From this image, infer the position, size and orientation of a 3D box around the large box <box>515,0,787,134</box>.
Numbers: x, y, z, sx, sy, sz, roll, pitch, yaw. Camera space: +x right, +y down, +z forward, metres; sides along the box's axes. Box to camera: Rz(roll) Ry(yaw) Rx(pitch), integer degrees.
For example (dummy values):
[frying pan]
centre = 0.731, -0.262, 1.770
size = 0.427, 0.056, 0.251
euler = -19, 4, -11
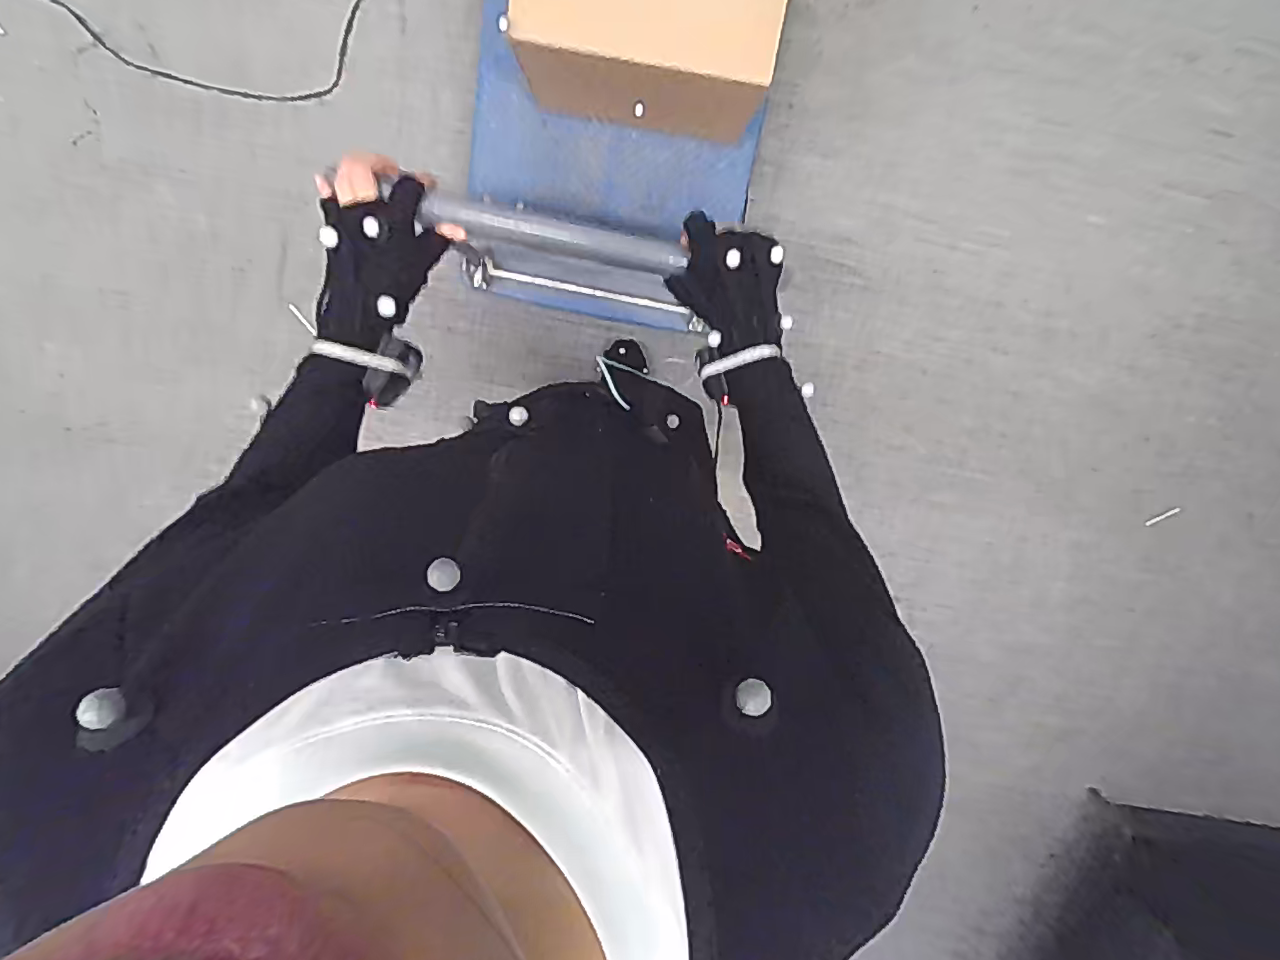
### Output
[large box]
centre = 0.029, -0.830, 0.916
size = 0.408, 0.320, 0.320
euler = 8, 106, -3
